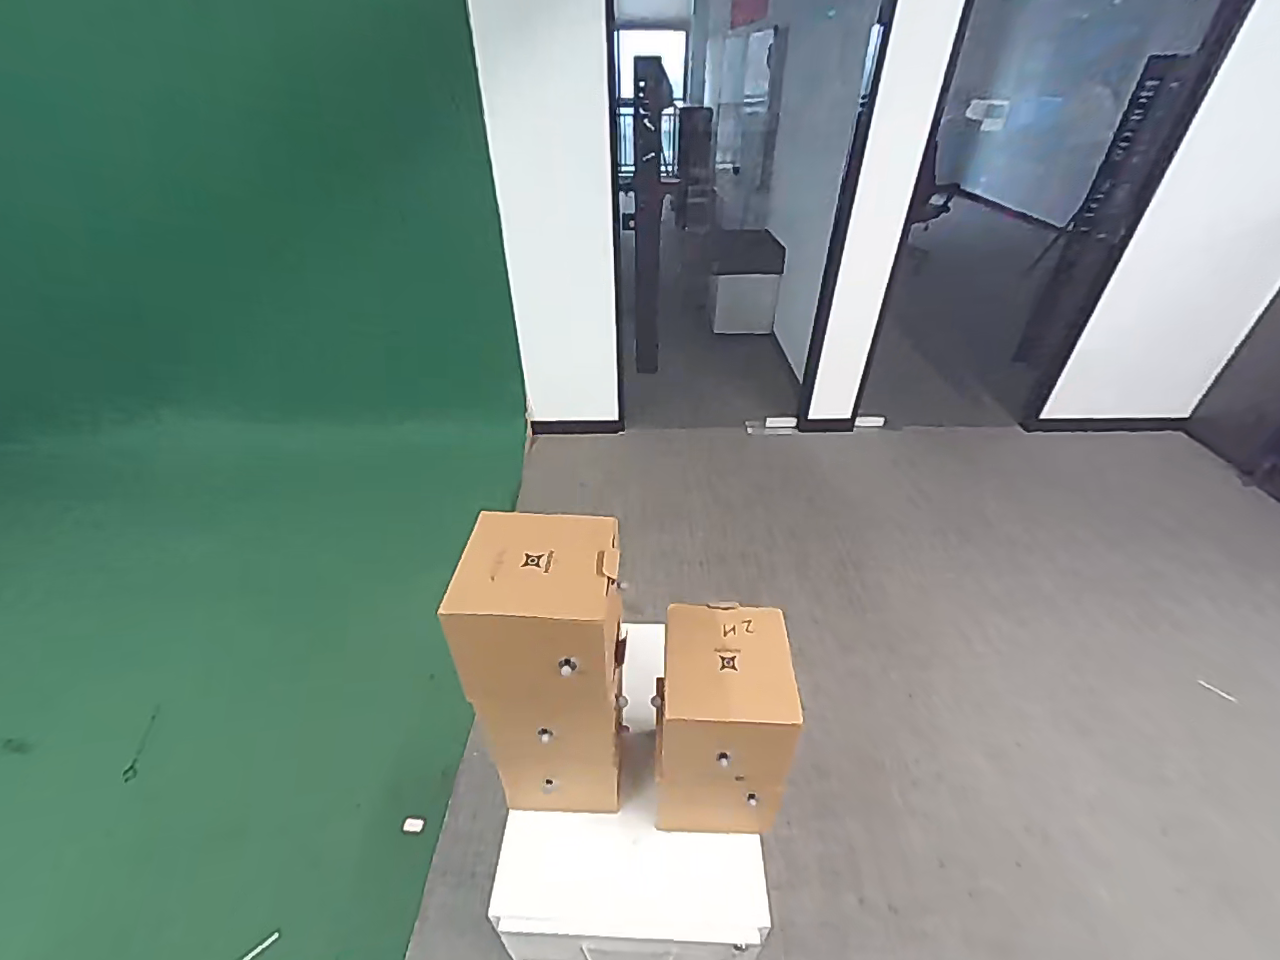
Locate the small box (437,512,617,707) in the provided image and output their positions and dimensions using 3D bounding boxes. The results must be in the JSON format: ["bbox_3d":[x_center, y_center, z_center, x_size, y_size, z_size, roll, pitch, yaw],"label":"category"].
[{"bbox_3d":[-0.121,0.159,0.666,0.179,0.176,0.168,2,36,2],"label":"small box"}]

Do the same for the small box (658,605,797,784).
[{"bbox_3d":[0.112,0.298,0.755,0.168,0.176,0.179,2,37,2],"label":"small box"}]

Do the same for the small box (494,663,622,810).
[{"bbox_3d":[-0.121,0.412,0.875,0.179,0.176,0.168,2,38,0],"label":"small box"}]
